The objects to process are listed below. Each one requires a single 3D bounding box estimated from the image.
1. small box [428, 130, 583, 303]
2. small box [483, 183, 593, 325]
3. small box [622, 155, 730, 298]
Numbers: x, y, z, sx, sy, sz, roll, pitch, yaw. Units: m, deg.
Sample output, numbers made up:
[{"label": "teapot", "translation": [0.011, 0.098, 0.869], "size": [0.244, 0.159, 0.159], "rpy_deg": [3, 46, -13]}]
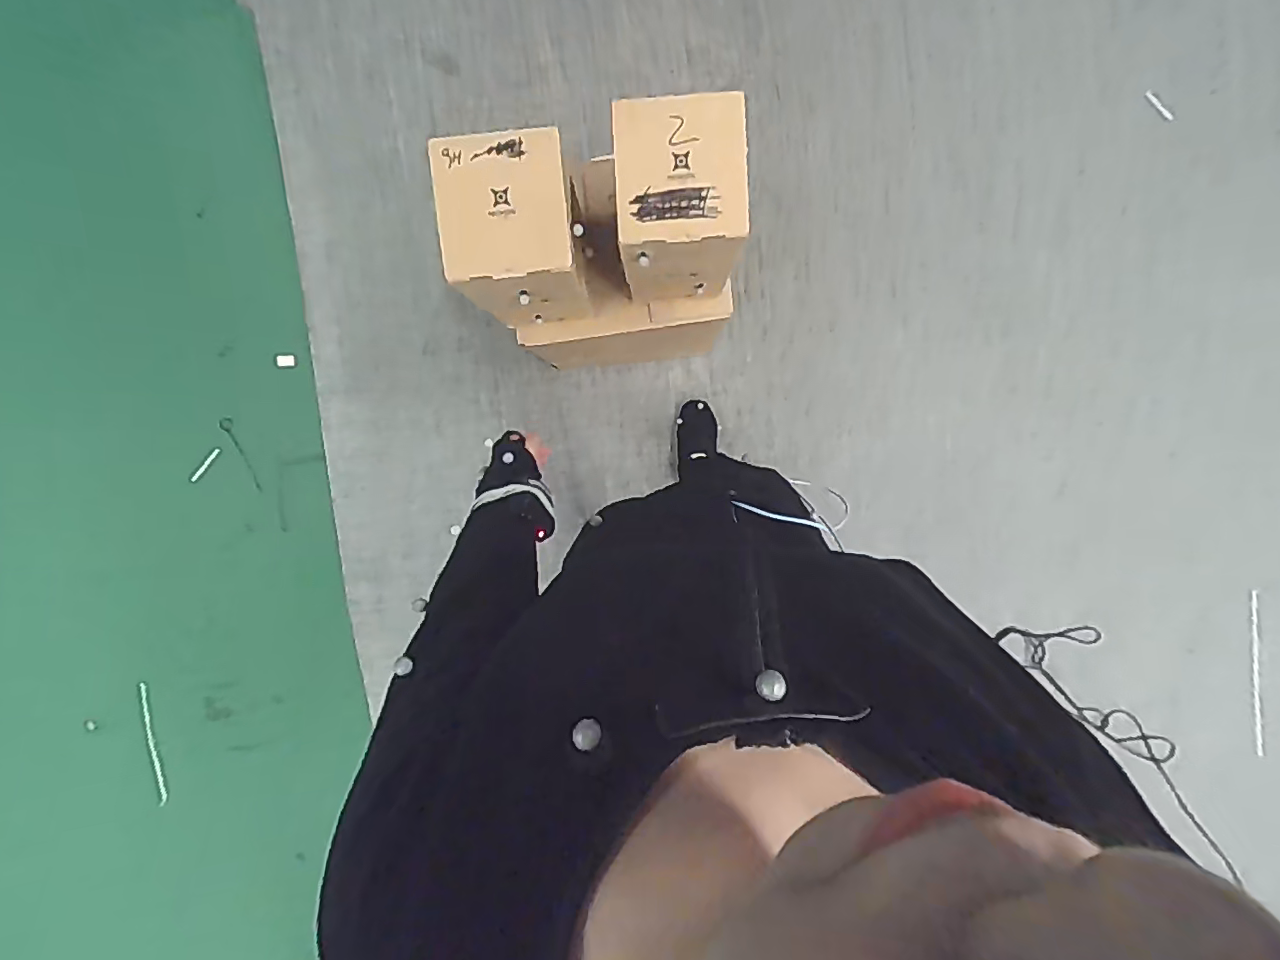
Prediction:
[{"label": "small box", "translation": [-0.176, -0.352, 0.758], "size": [0.168, 0.176, 0.179], "rpy_deg": [-5, 97, 0]}, {"label": "small box", "translation": [-0.174, -0.374, 0.921], "size": [0.168, 0.176, 0.179], "rpy_deg": [-6, 97, 1]}, {"label": "small box", "translation": [0.060, -0.412, 0.911], "size": [0.168, 0.176, 0.179], "rpy_deg": [-3, 95, 2]}]
